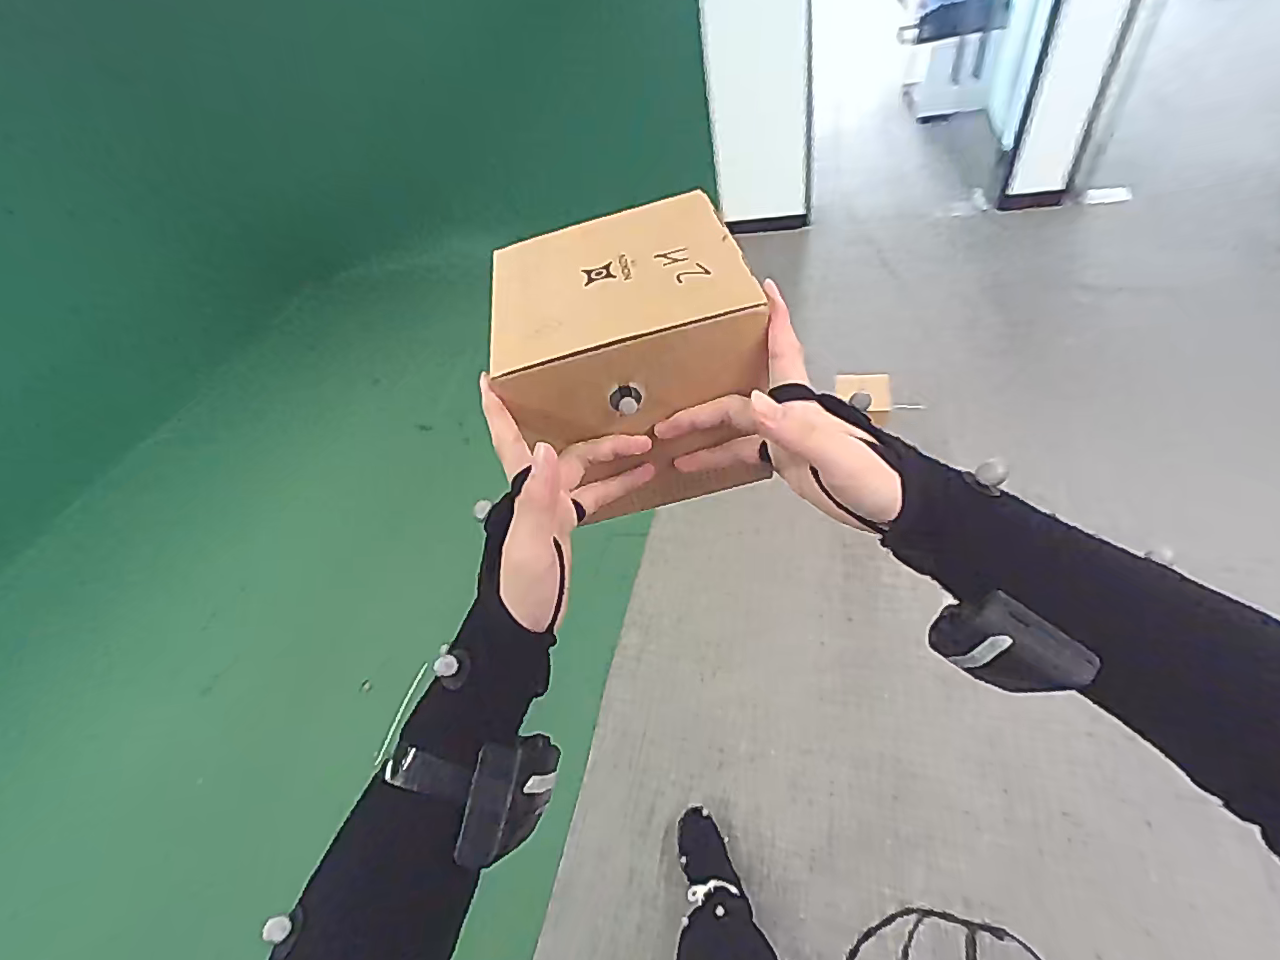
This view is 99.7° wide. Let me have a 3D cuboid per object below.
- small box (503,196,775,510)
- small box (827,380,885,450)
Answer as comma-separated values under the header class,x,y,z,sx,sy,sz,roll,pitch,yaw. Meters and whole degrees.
class,x,y,z,sx,sy,sz,roll,pitch,yaw
small box,0.004,-0.096,0.442,0.179,0.176,0.168,-13,49,3
small box,0.720,-0.214,1.812,0.168,0.176,0.179,2,50,17
